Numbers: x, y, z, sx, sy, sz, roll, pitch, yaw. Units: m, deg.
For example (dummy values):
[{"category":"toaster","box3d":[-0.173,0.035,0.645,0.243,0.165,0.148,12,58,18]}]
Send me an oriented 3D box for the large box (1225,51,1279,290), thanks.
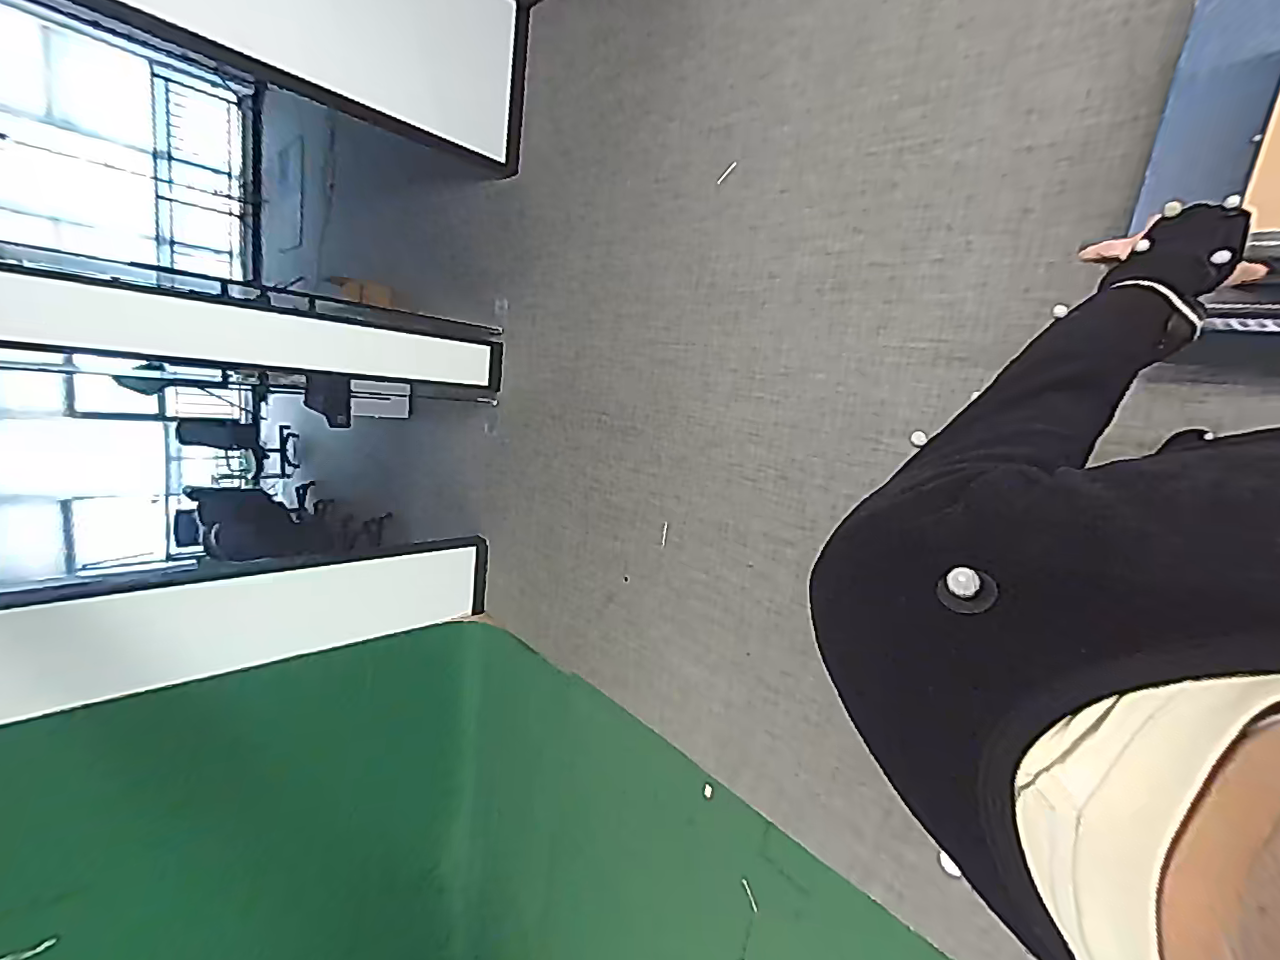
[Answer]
[{"category":"large box","box3d":[1.118,-0.518,0.776,0.320,0.320,0.408,18,103,43]}]
